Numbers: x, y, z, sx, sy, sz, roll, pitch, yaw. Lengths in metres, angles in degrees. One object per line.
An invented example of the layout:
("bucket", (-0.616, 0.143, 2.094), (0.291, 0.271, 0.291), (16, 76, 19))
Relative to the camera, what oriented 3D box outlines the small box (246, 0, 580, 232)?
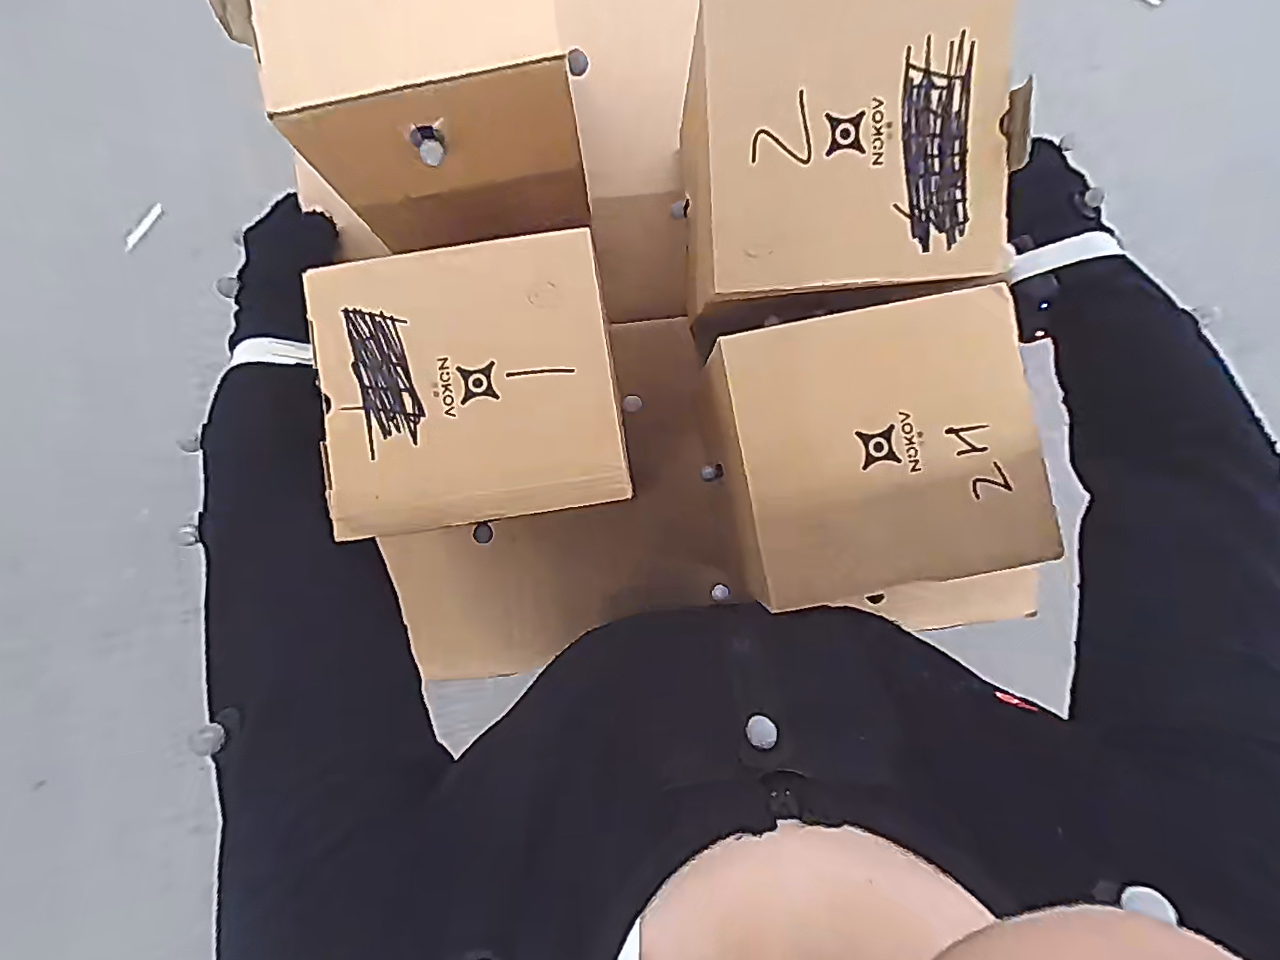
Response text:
("small box", (-0.144, -0.309, 0.390), (0.179, 0.176, 0.168), (-11, 87, 1))
